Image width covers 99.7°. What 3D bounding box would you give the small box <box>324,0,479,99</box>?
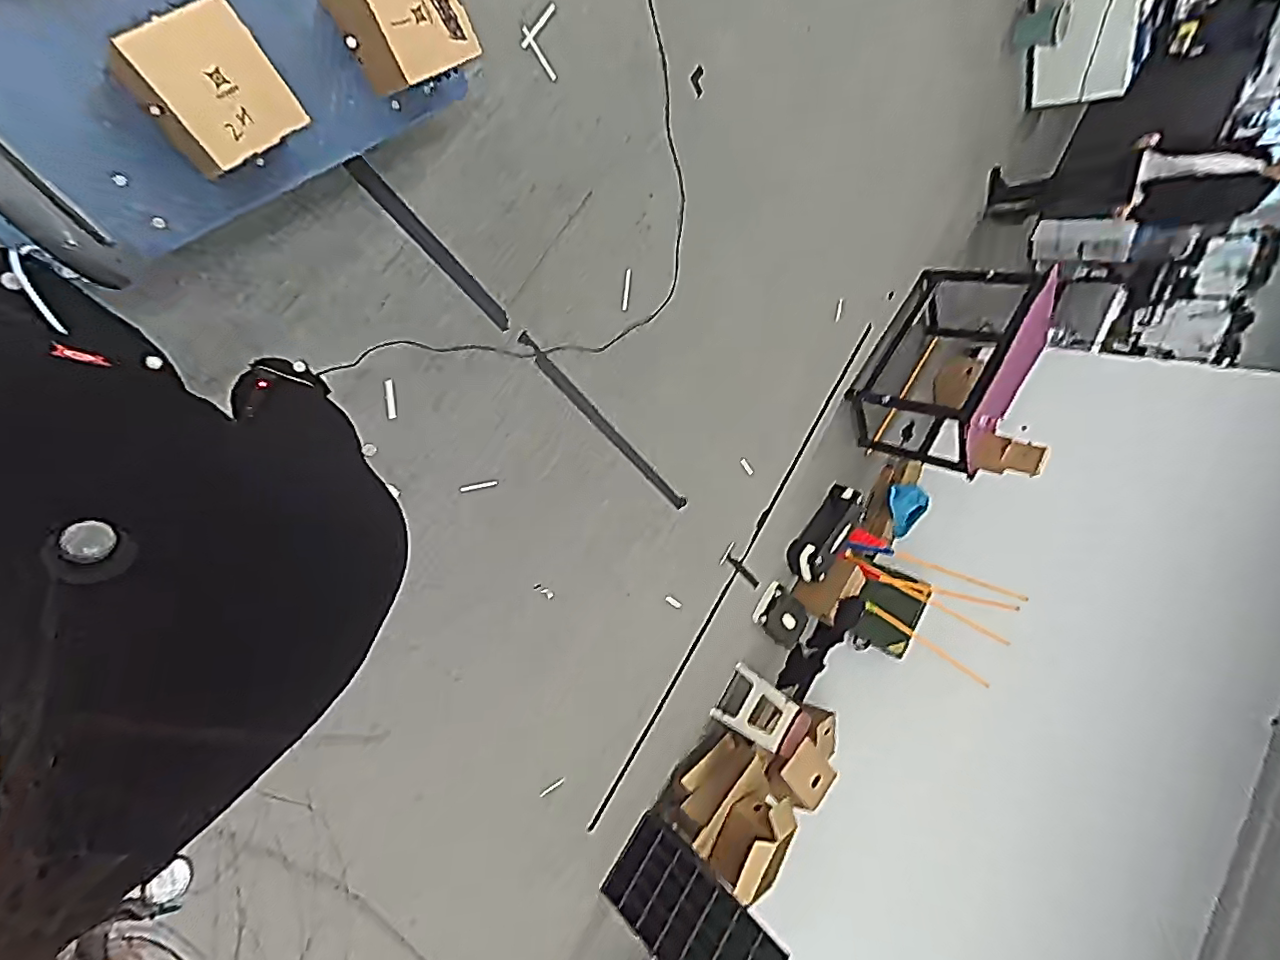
[{"bbox_3d":[-0.444,-0.844,1.009,0.179,0.176,0.168,-44,135,-23],"label":"small box"}]

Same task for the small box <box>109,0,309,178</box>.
[{"bbox_3d":[-0.682,-0.608,0.857,0.168,0.176,0.179,-50,137,-20],"label":"small box"}]
